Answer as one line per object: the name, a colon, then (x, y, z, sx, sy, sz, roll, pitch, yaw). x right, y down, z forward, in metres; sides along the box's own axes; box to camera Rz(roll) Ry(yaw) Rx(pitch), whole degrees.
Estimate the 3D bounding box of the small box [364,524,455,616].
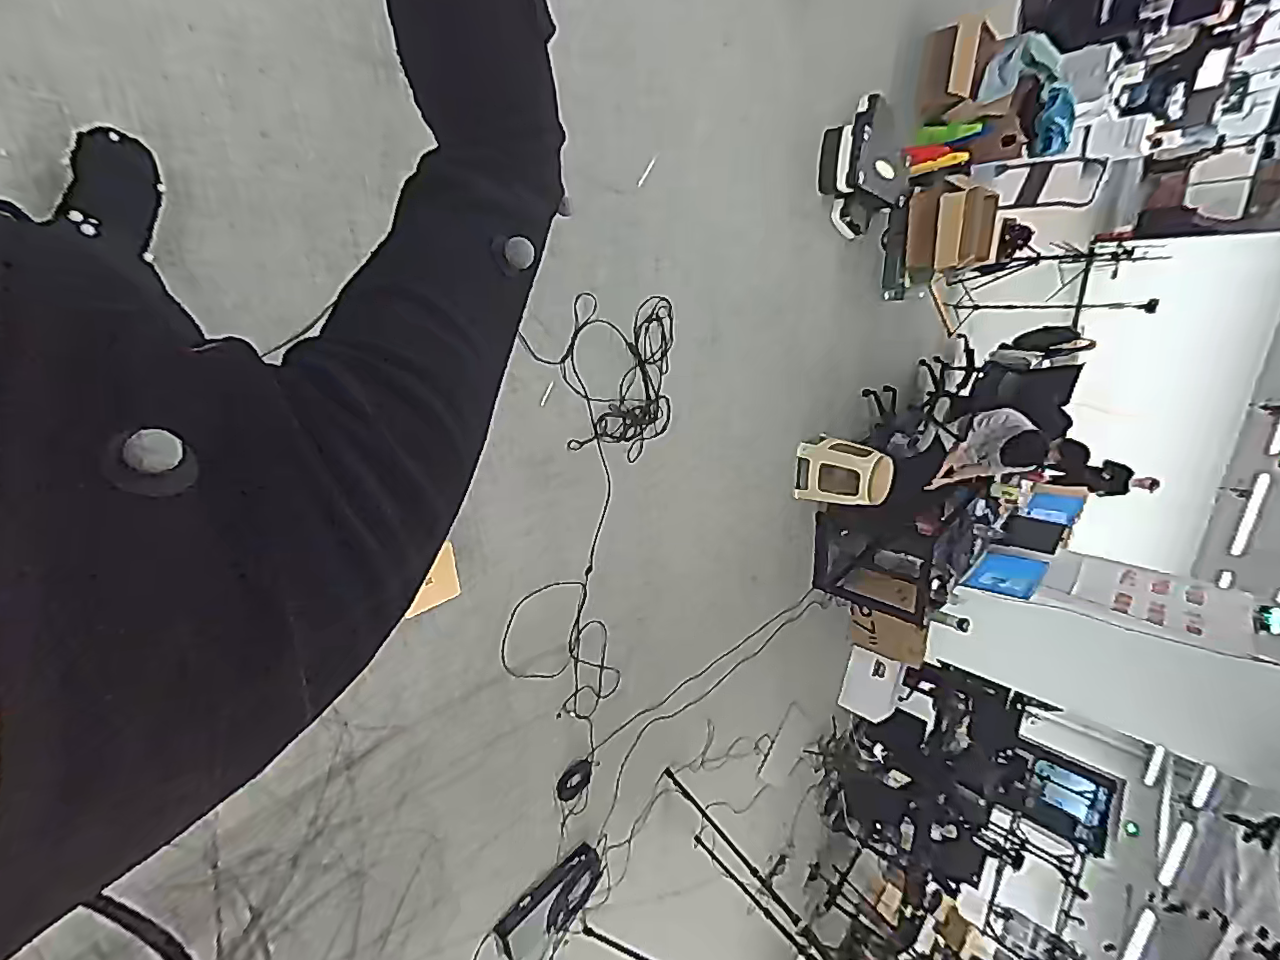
small box: (-0.644, 0.243, 1.511, 0.168, 0.176, 0.179, -23, 118, -42)
